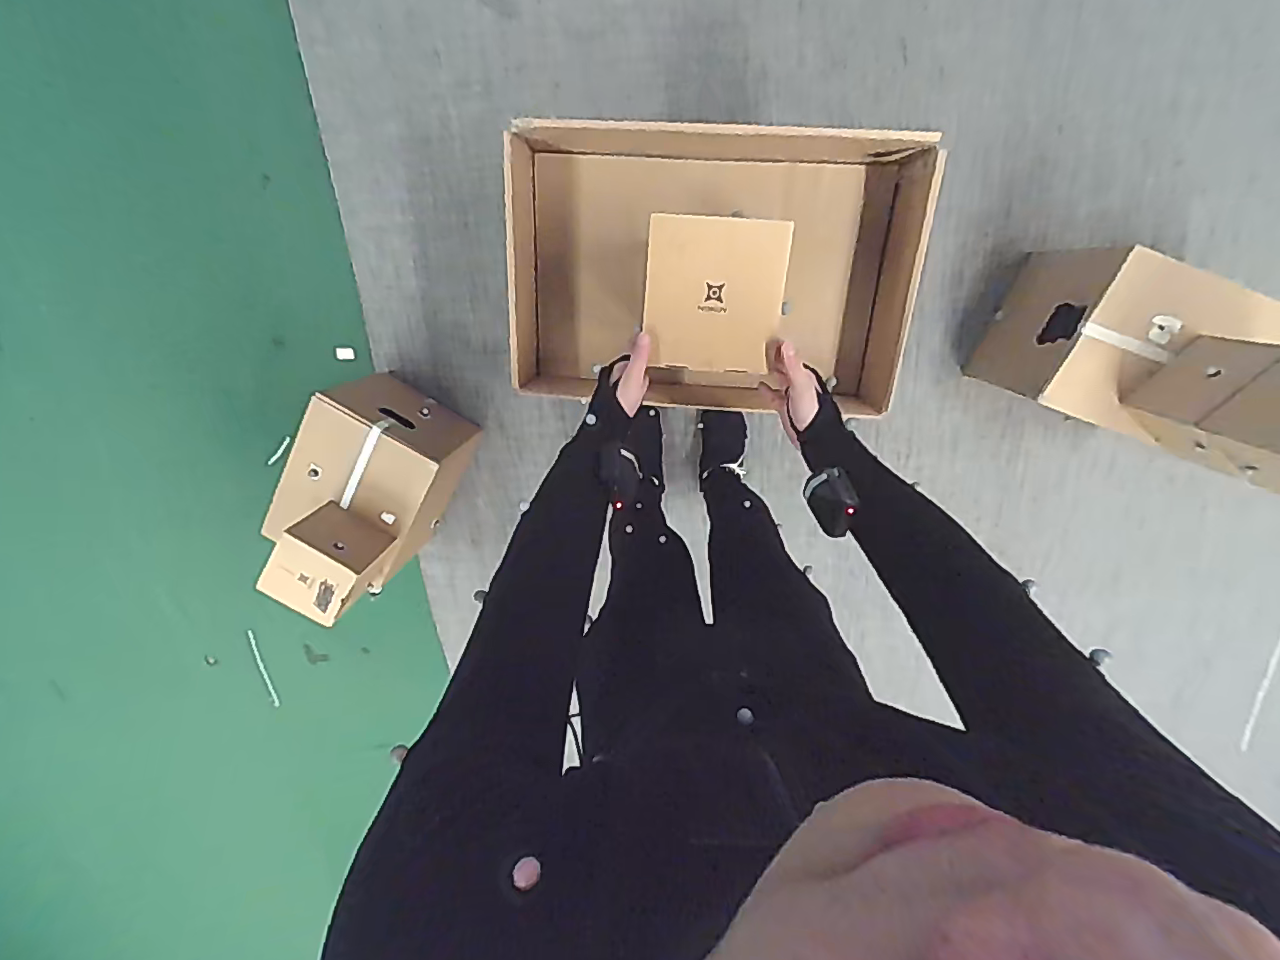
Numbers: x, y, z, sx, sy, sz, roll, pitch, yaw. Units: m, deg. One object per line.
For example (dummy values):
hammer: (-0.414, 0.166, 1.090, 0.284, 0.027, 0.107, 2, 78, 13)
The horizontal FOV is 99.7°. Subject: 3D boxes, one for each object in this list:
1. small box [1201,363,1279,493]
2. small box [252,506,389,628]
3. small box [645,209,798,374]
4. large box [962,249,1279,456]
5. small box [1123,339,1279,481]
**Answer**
small box: (1.045, -0.075, 0.823, 0.168, 0.176, 0.179, 38, 110, -10)
small box: (-0.694, 0.184, 1.196, 0.179, 0.176, 0.168, 34, 108, -9)
small box: (0.097, -0.246, 0.712, 0.168, 0.176, 0.179, 5, 111, 3)
large box: (1.034, -0.280, 1.188, 0.408, 0.320, 0.320, 19, 109, -2)
small box: (1.053, -0.135, 0.977, 0.168, 0.176, 0.179, 38, 109, -10)
